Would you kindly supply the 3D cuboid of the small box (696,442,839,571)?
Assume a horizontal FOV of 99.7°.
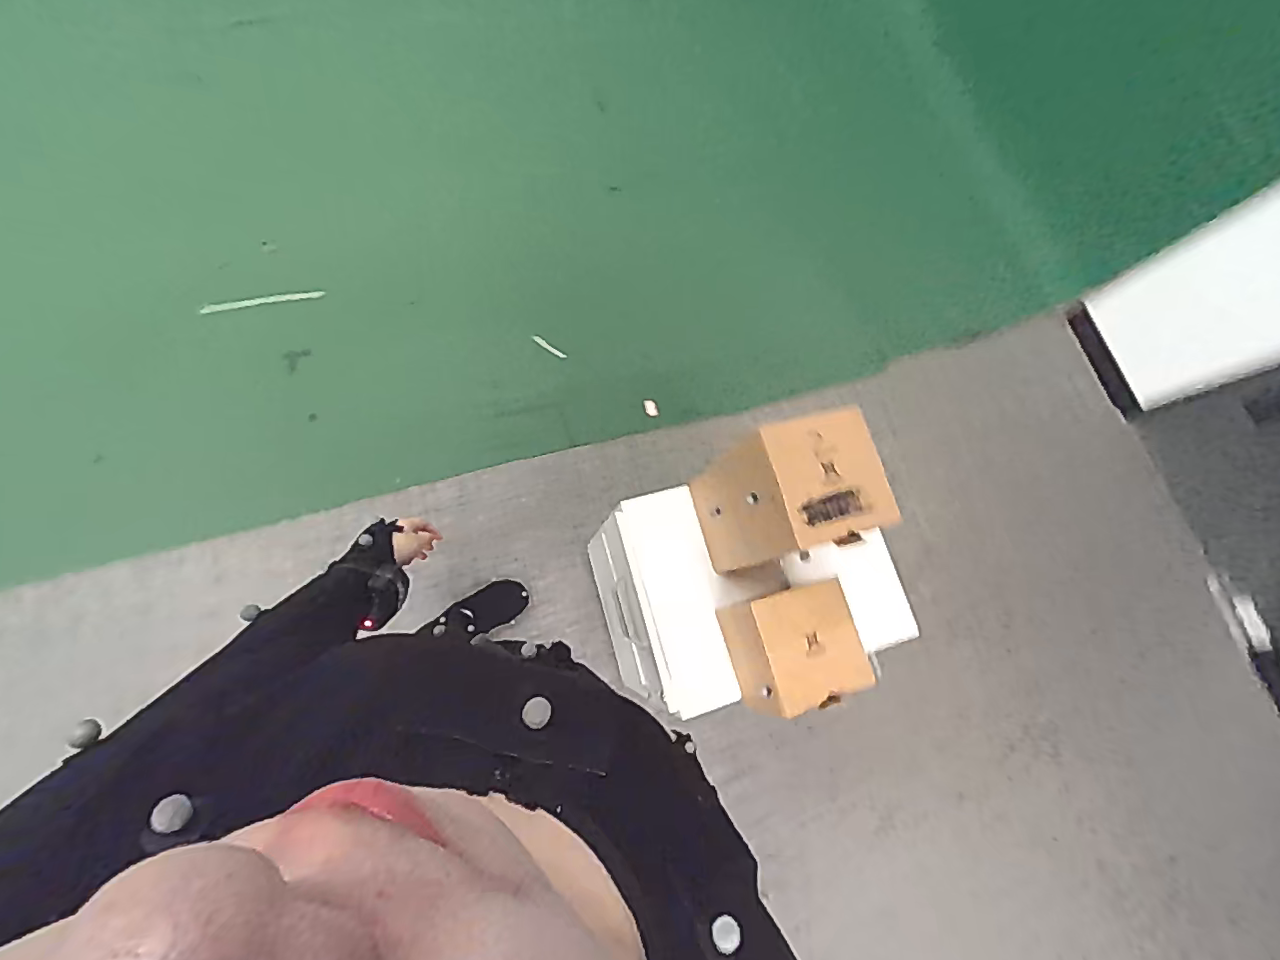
[{"bbox_3d":[0.215,0.052,0.964,0.168,0.176,0.179,-13,79,-15],"label":"small box"}]
